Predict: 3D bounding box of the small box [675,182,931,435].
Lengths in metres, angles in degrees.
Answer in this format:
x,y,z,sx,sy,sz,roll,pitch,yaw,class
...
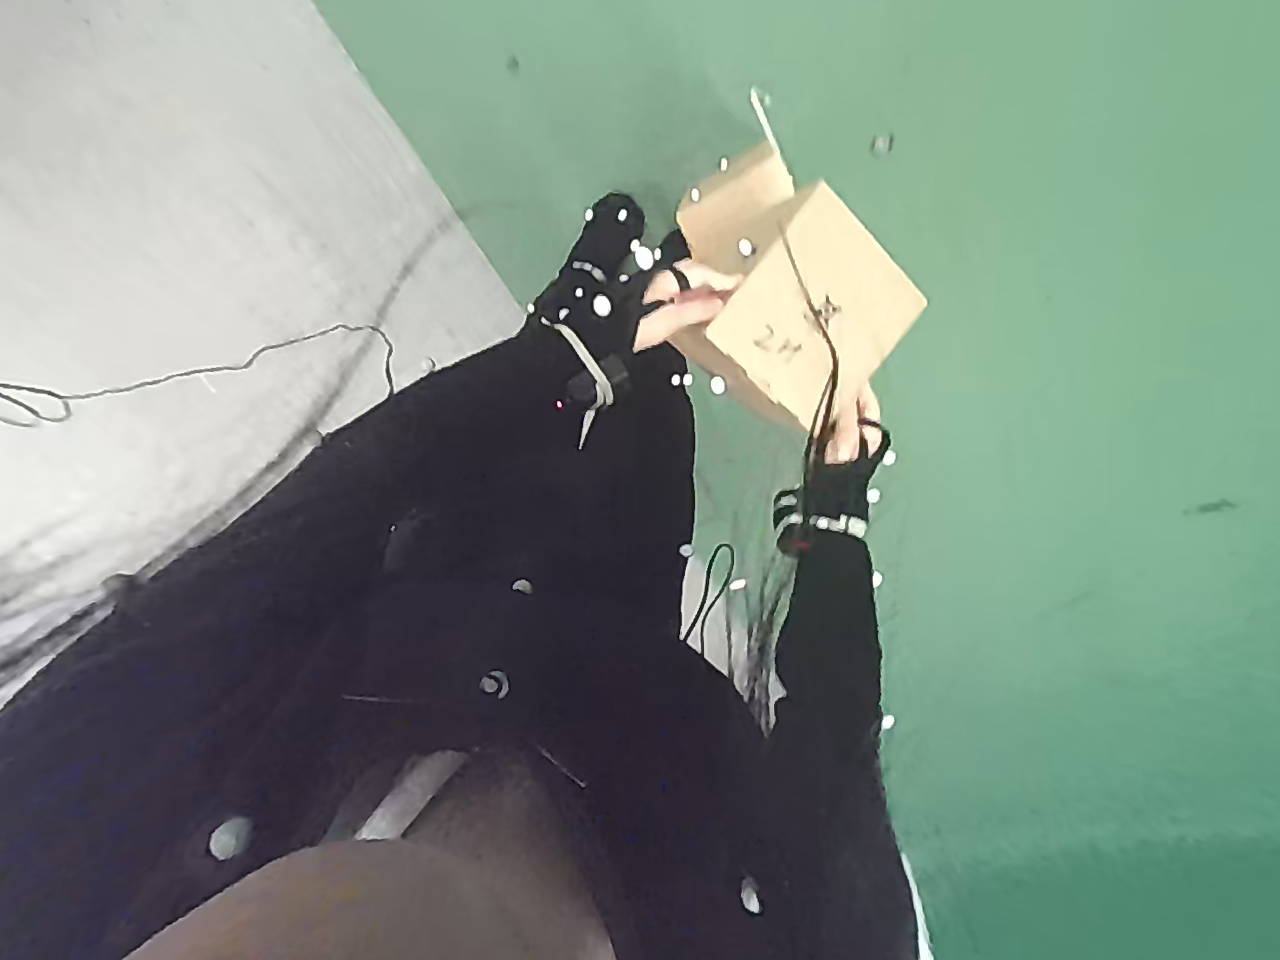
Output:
x,y,z,sx,sy,sz,roll,pitch,yaw,class
0.161,-0.180,0.593,0.168,0.176,0.179,36,97,-18,small box

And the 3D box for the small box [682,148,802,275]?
x,y,z,sx,sy,sz,roll,pitch,yaw,class
0.189,-0.438,0.925,0.179,0.176,0.168,-23,119,24,small box
